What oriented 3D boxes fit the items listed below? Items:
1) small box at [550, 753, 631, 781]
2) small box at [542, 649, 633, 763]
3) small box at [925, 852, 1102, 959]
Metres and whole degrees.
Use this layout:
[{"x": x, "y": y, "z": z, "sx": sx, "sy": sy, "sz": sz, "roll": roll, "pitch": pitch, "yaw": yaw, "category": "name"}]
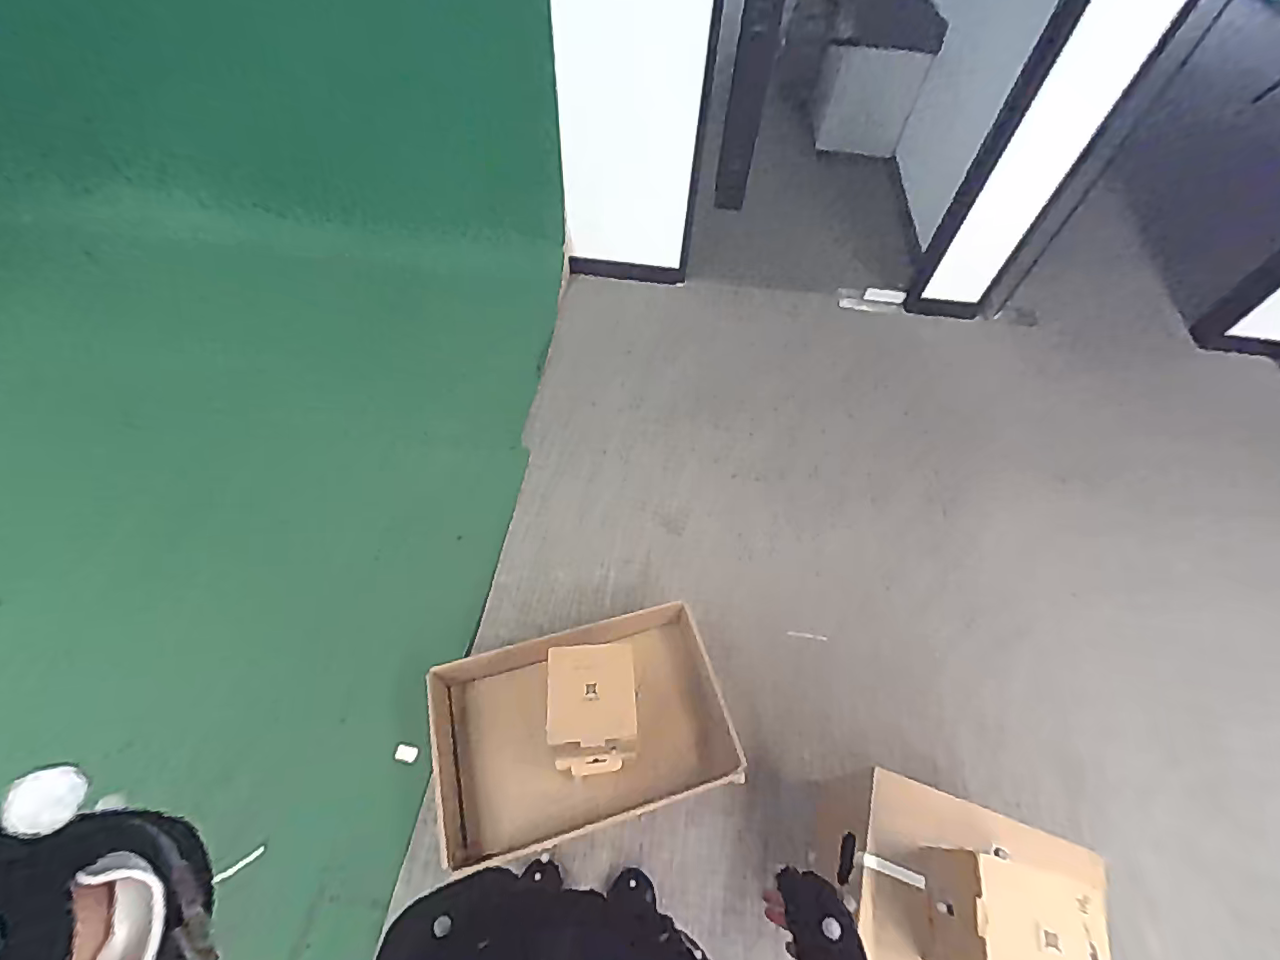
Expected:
[{"x": -0.110, "y": 0.556, "z": 1.197, "sx": 0.168, "sy": 0.176, "sz": 0.179, "roll": -7, "pitch": 55, "yaw": -7, "category": "small box"}, {"x": -0.101, "y": 0.453, "z": 1.072, "sx": 0.168, "sy": 0.176, "sz": 0.179, "roll": -3, "pitch": 54, "yaw": -5, "category": "small box"}, {"x": 0.558, "y": 0.693, "z": 0.830, "sx": 0.179, "sy": 0.176, "sz": 0.168, "roll": 13, "pitch": 57, "yaw": 6, "category": "small box"}]
